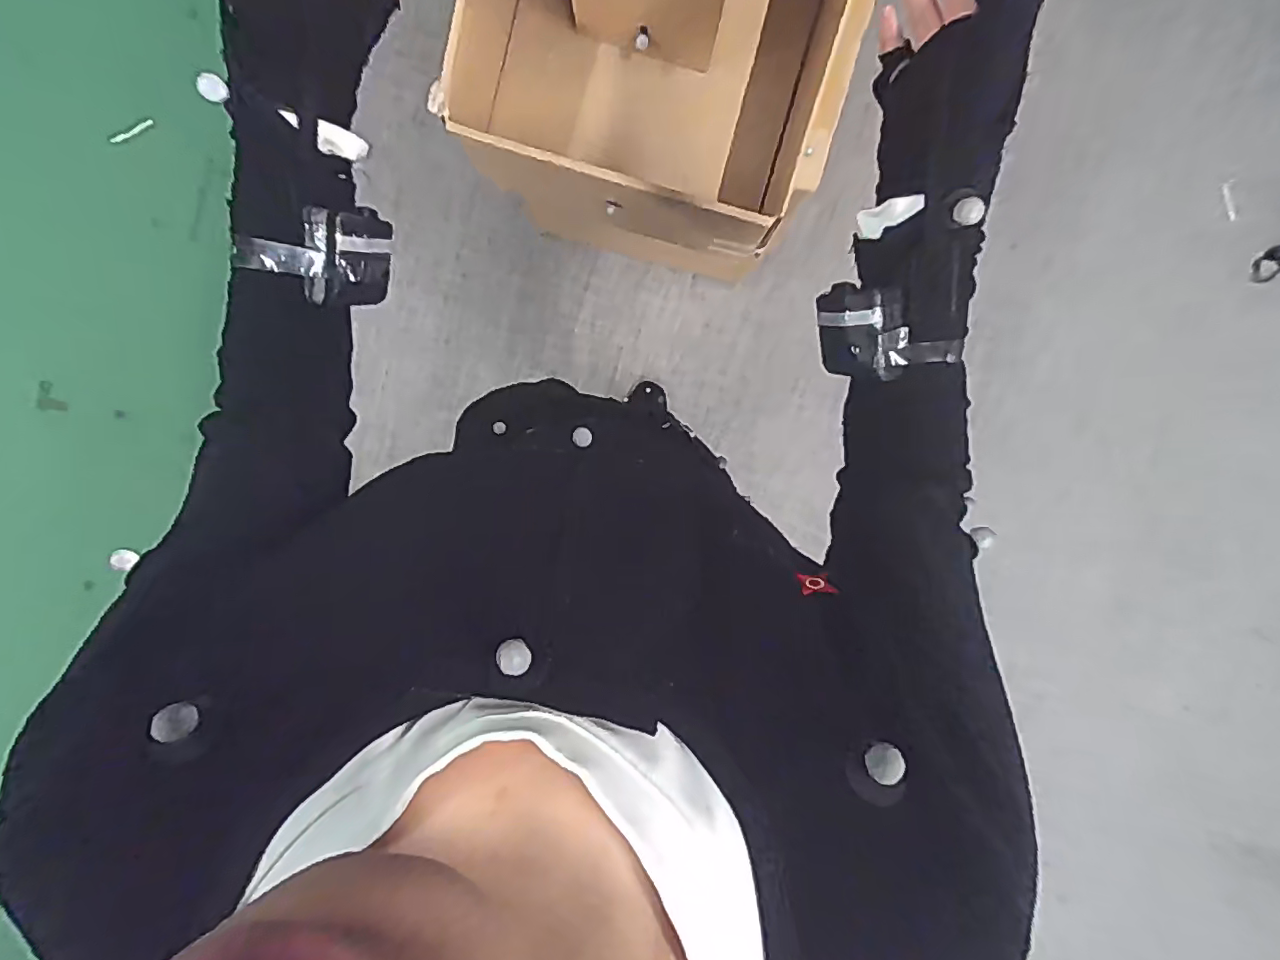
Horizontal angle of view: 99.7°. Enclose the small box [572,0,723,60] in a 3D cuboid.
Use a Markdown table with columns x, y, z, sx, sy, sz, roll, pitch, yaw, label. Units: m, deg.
| x | y | z | sx | sy | sz | roll | pitch | yaw | label |
| --- | --- | --- | --- | --- | --- | --- | --- | --- | --- |
| 0.025 | -0.612 | 0.593 | 0.179 | 0.176 | 0.168 | 15 | 97 | -4 | small box |
